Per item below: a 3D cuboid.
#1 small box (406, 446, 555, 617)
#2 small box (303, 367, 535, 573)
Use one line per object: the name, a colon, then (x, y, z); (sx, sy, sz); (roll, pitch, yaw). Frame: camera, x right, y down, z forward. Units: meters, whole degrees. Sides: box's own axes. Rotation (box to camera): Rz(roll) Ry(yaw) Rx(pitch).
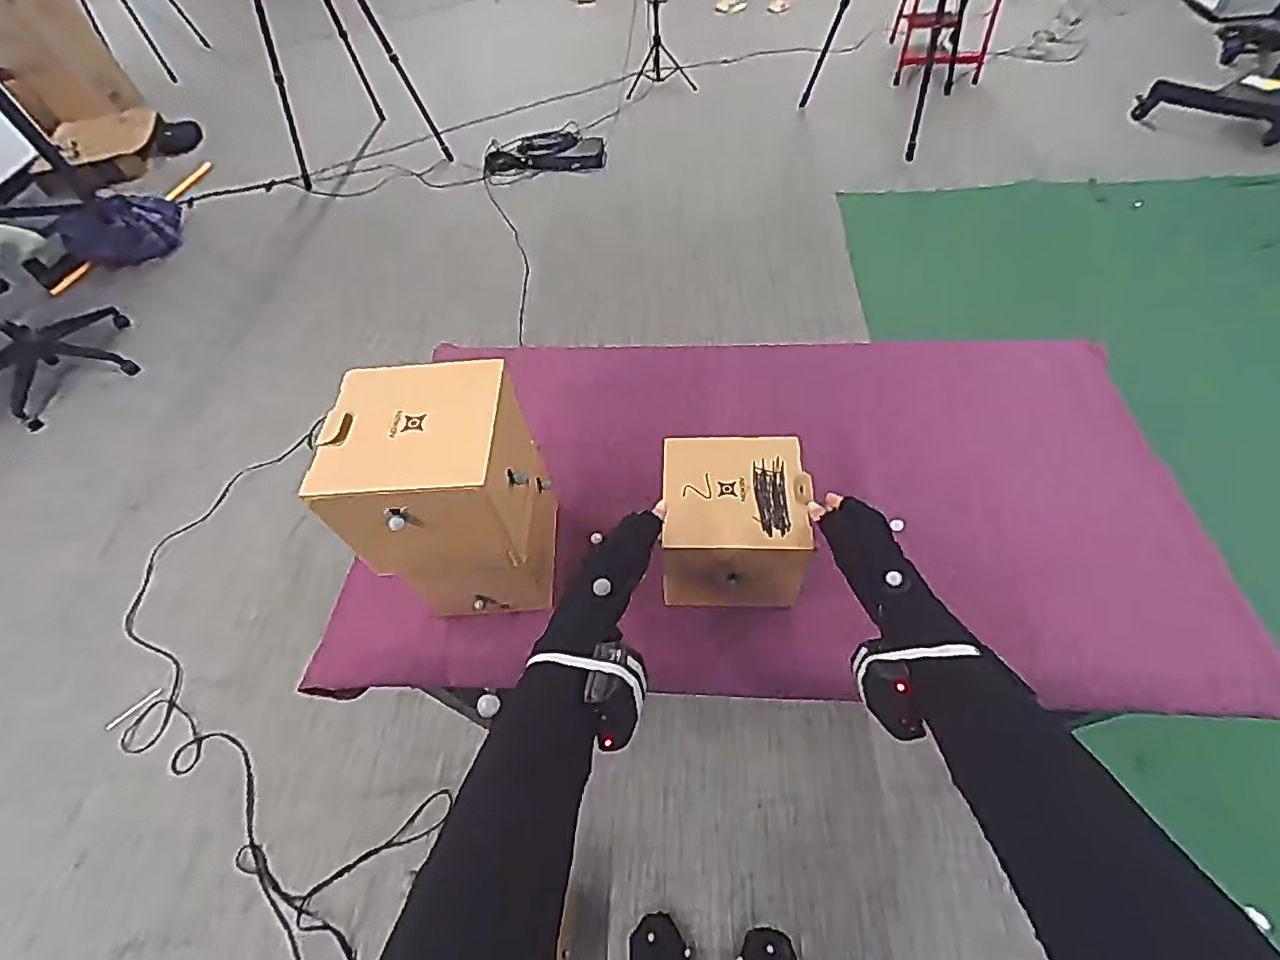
small box: (-0.215, 0.073, 0.746); (0.168, 0.176, 0.179); (-3, 55, 1)
small box: (-0.221, -0.006, 0.603); (0.179, 0.176, 0.168); (-3, 55, 2)
